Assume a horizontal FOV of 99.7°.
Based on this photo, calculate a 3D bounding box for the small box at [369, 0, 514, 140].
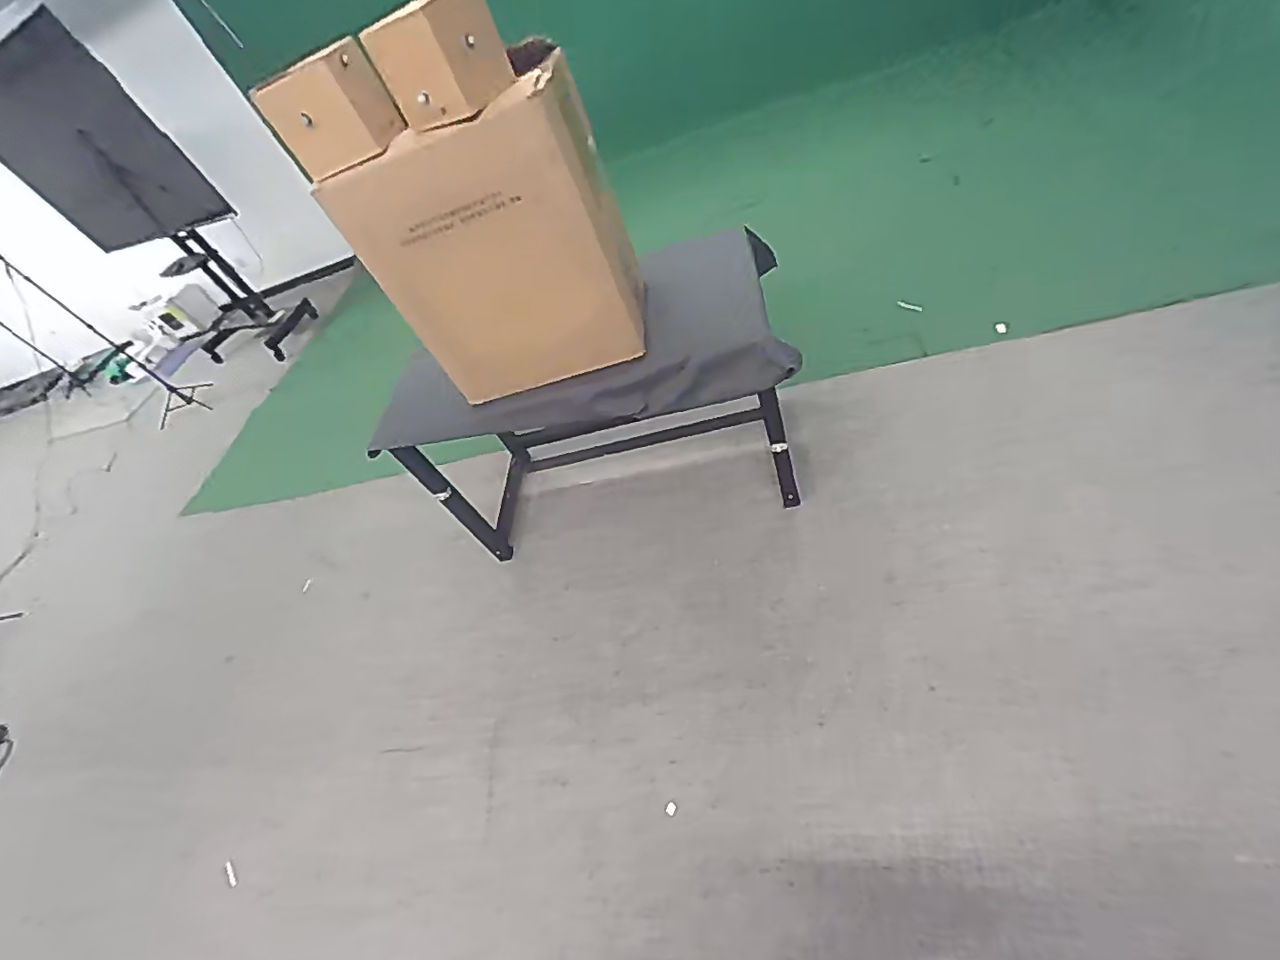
[{"bbox_3d":[-0.372,-0.798,1.054,0.168,0.176,0.179,7,55,29],"label":"small box"}]

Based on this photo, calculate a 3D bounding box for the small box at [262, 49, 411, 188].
[{"bbox_3d":[-0.616,-0.741,1.121,0.179,0.176,0.168,-14,48,16],"label":"small box"}]
